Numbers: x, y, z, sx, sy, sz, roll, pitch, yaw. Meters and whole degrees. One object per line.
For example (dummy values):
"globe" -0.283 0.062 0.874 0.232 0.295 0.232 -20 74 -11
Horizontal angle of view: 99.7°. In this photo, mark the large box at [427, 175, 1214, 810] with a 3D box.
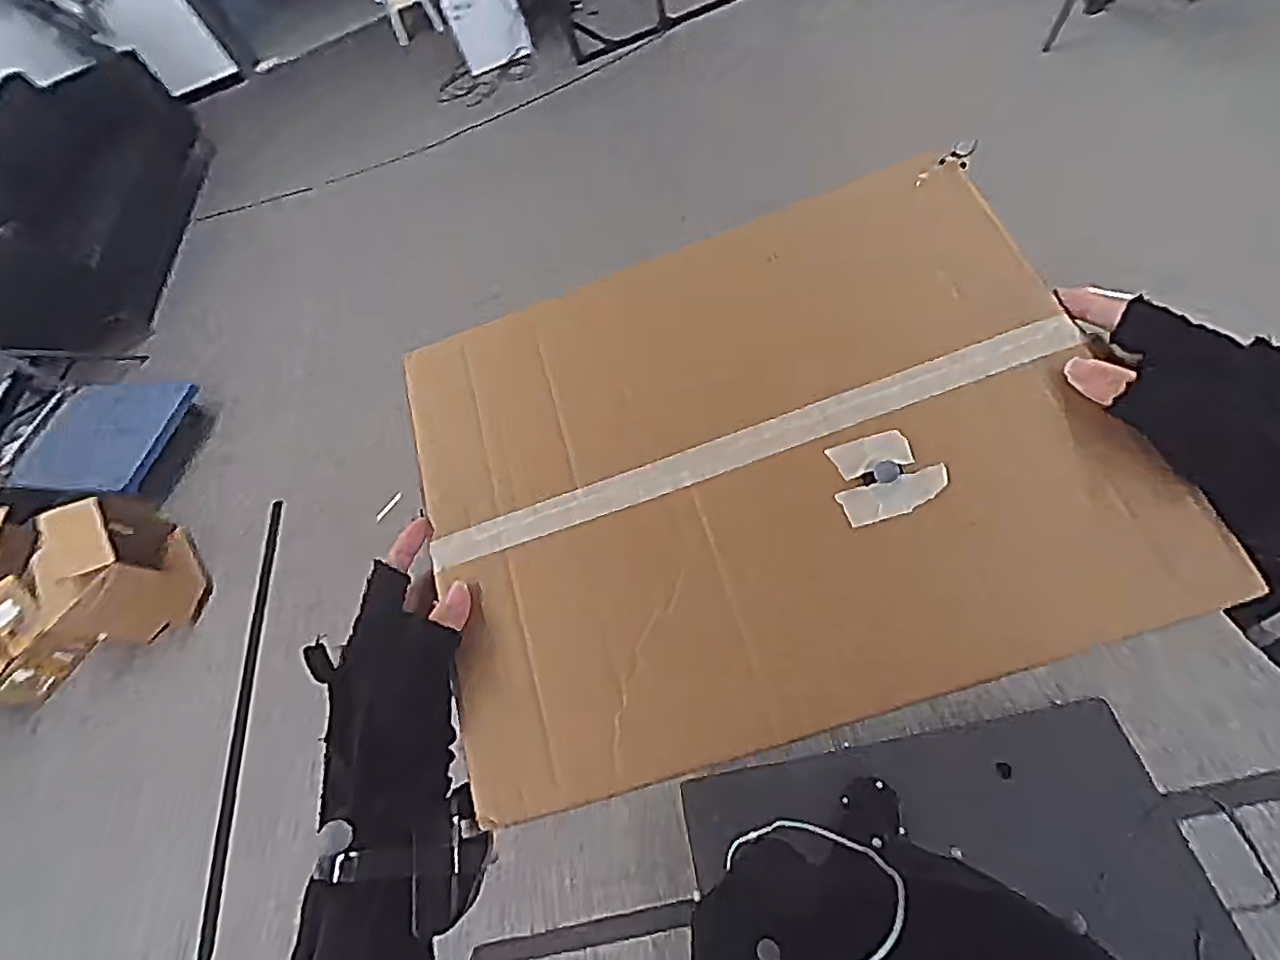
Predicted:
"large box" 0.092 0.032 0.479 0.408 0.320 0.320 -19 70 4

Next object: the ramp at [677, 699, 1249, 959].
"ramp" 0.611 0.801 1.121 0.991 0.206 0.509 -17 57 6
